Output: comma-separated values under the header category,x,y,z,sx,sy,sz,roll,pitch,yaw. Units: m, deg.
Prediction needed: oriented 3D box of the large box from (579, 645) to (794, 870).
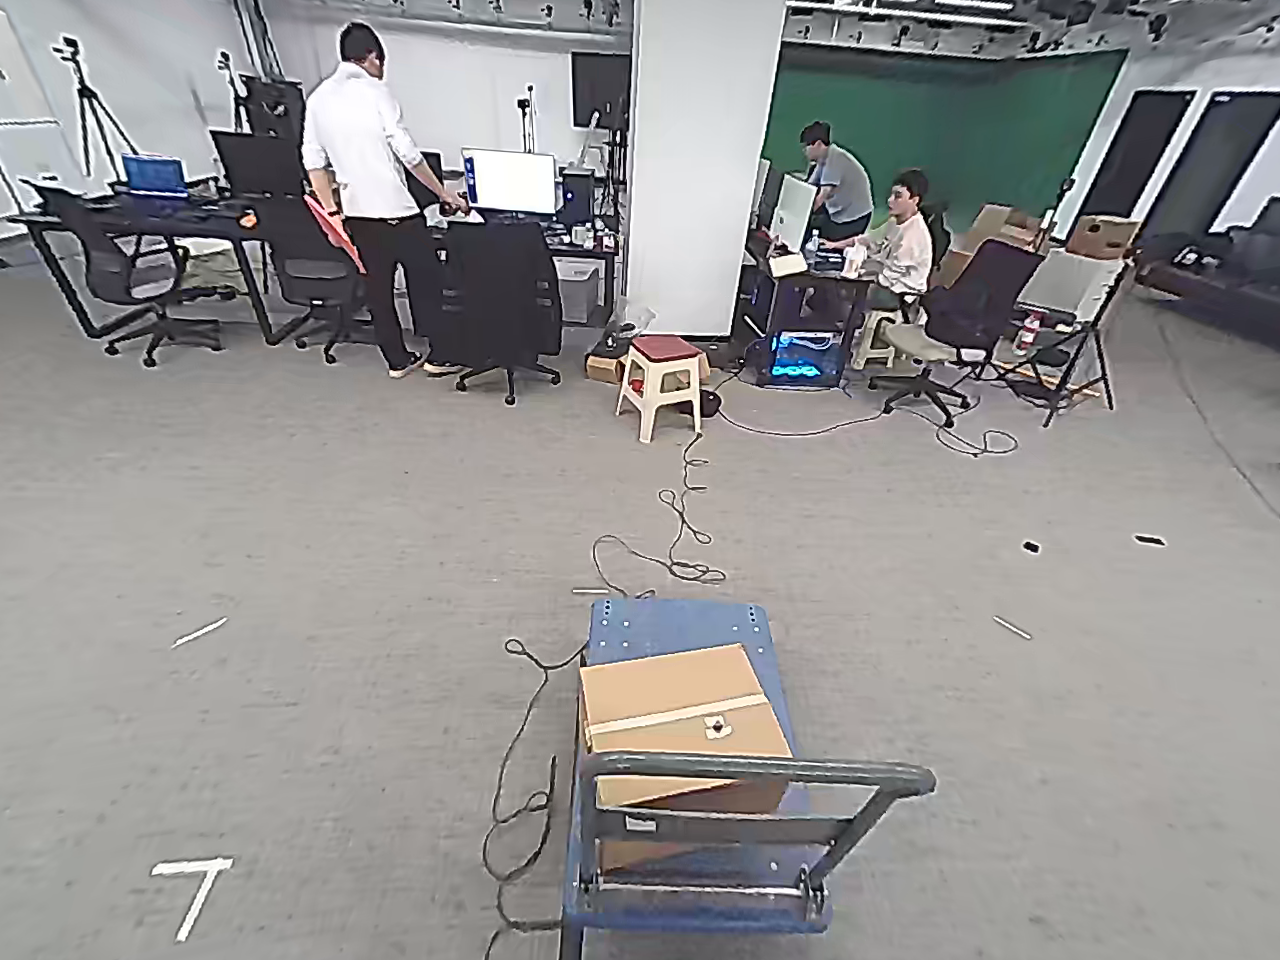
category,x,y,z,sx,sy,sz,roll,pitch,yaw
large box,0.080,0.634,1.261,0.408,0.320,0.320,-4,37,-13
